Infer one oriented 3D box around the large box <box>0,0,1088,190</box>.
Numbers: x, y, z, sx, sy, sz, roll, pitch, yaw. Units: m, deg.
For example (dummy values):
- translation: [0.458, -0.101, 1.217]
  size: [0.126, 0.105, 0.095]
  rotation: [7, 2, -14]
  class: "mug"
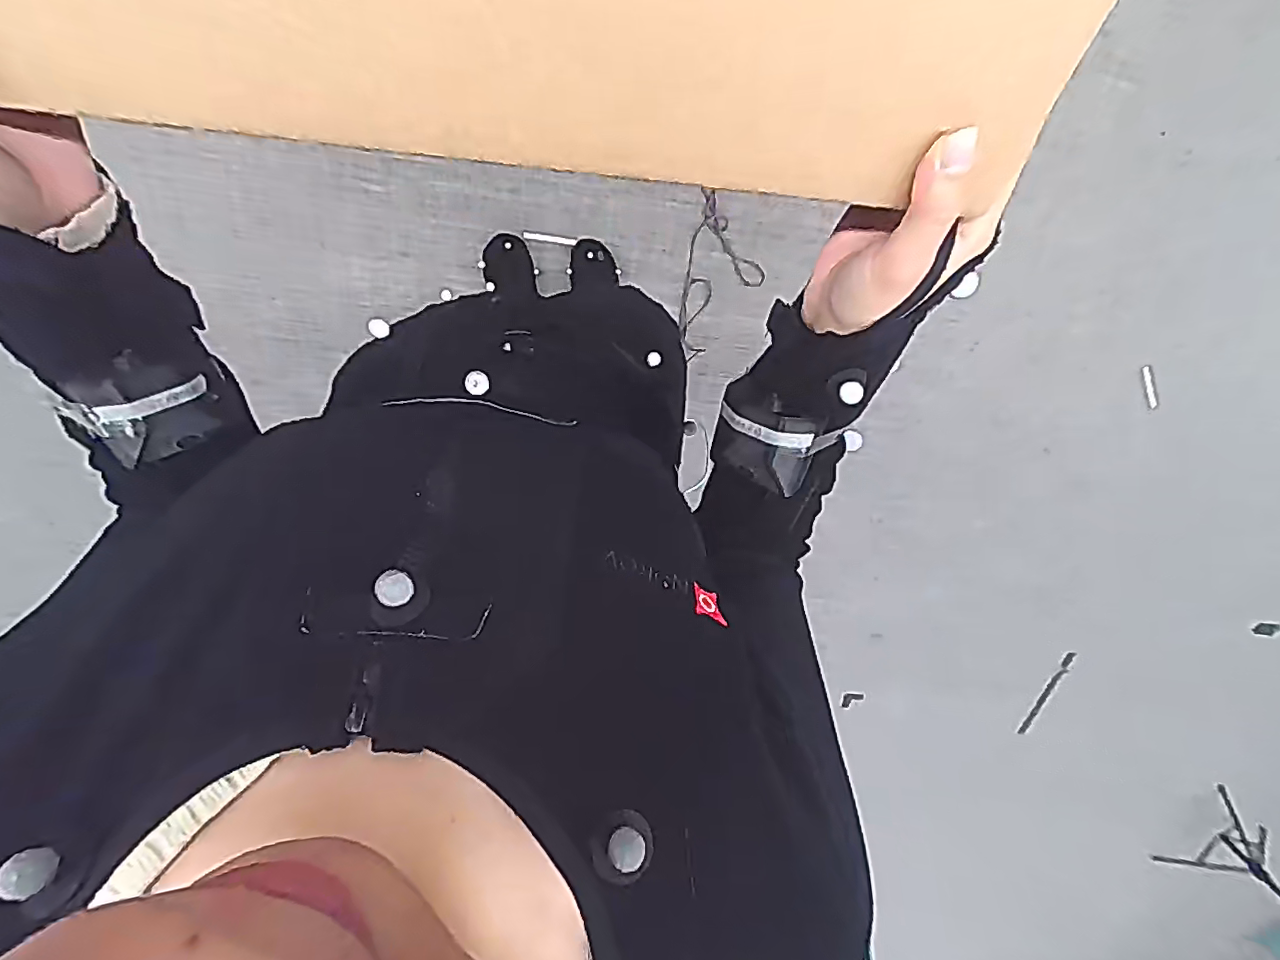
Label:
- translation: [-0.043, -0.340, 0.195]
  size: [0.408, 0.320, 0.320]
  rotation: [2, 140, -7]
  class: "large box"
